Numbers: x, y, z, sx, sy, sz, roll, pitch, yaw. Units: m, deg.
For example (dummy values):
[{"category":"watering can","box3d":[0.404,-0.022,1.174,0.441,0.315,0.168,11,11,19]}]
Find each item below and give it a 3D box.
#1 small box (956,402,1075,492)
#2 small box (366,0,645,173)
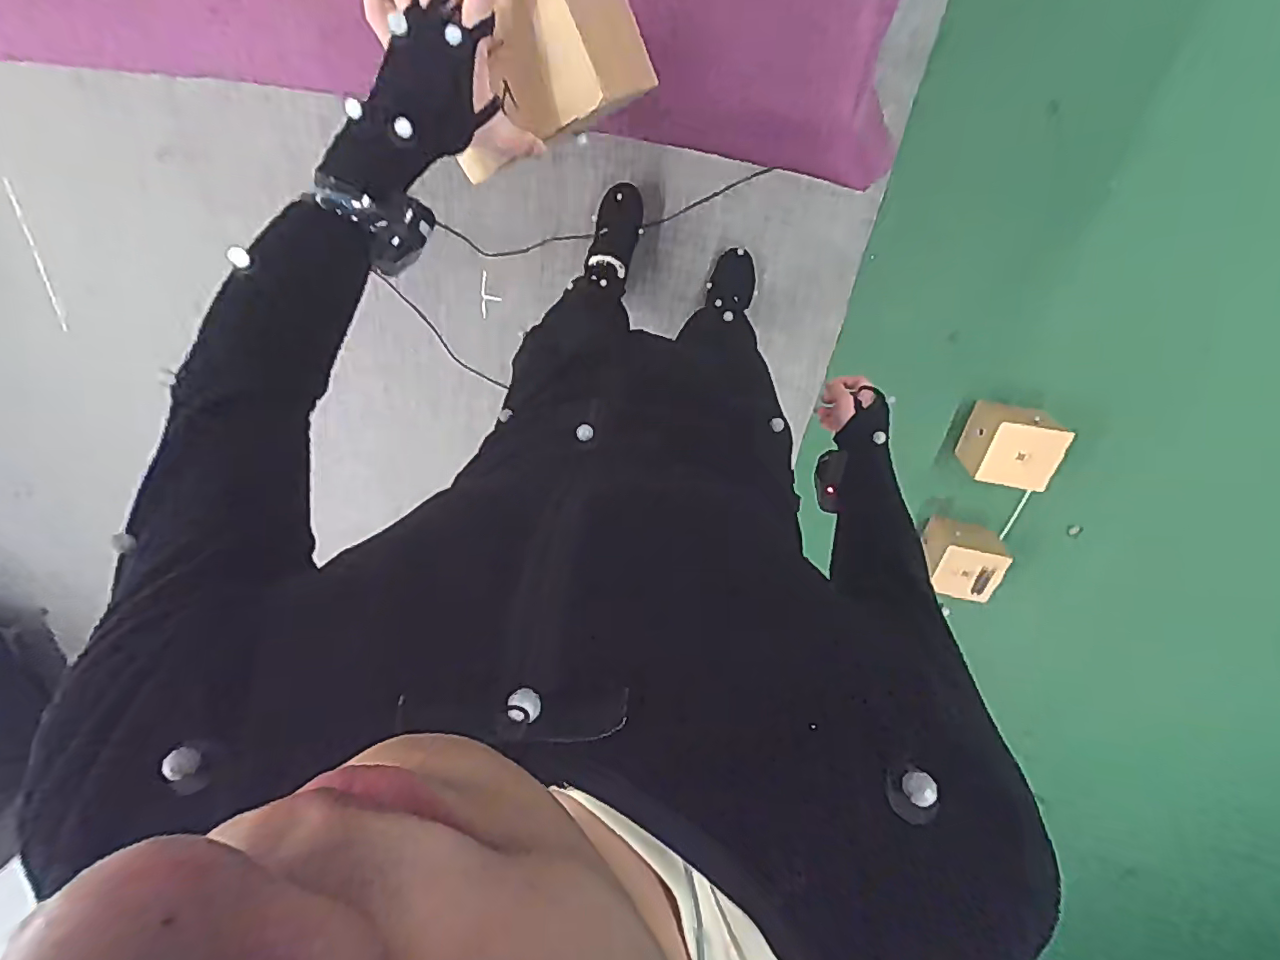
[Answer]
[{"category":"small box","box3d":[0.966,-0.093,1.413,0.179,0.176,0.168,10,119,5]},{"category":"small box","box3d":[-0.117,-0.427,0.509,0.168,0.176,0.179,-9,126,28]}]
